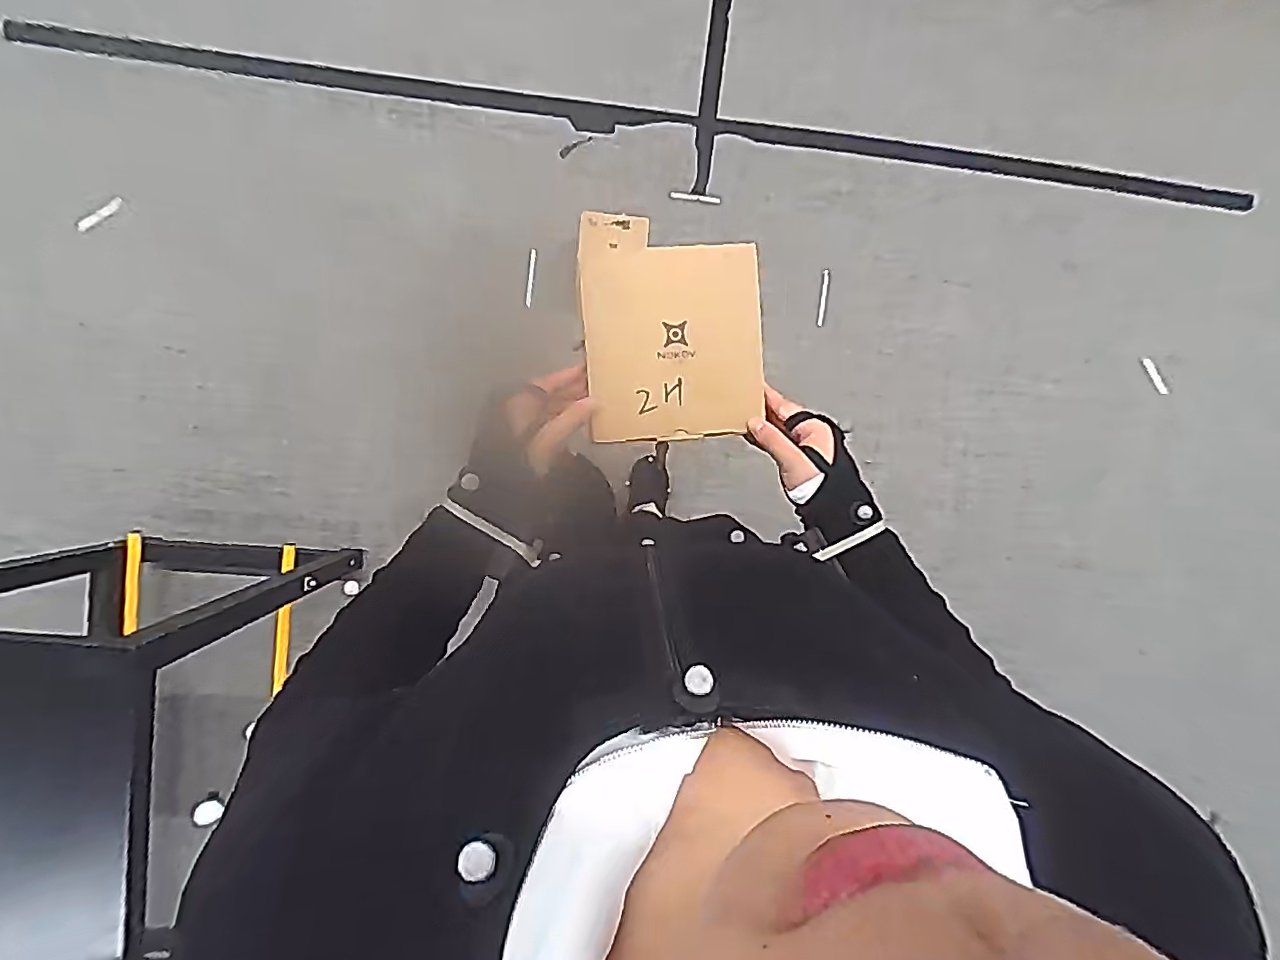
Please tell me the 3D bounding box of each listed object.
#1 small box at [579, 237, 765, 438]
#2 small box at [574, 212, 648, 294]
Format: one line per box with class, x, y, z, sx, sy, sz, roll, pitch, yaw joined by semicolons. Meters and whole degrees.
small box;0.023;-0.137;0.575;0.168;0.176;0.179;-5;95;-5
small box;-0.073;-0.552;1.372;0.168;0.176;0.179;5;94;-3
